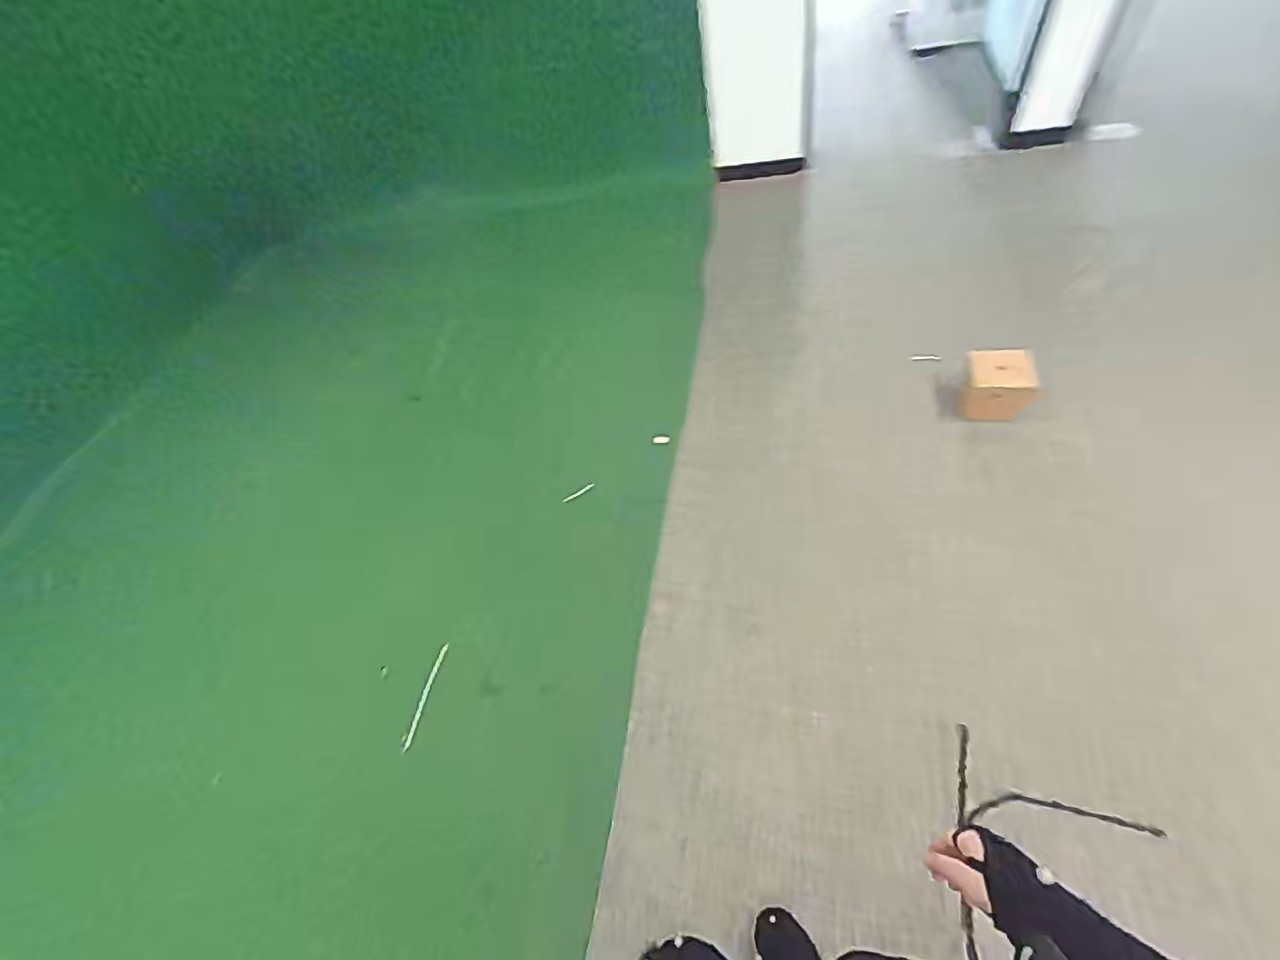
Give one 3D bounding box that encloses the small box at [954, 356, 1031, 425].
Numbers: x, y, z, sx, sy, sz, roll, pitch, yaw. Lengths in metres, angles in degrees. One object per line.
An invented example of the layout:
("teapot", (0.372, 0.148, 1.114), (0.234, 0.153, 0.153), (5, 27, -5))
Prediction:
("small box", (1.175, -0.300, 1.821), (0.179, 0.176, 0.168), (3, 57, 15))
